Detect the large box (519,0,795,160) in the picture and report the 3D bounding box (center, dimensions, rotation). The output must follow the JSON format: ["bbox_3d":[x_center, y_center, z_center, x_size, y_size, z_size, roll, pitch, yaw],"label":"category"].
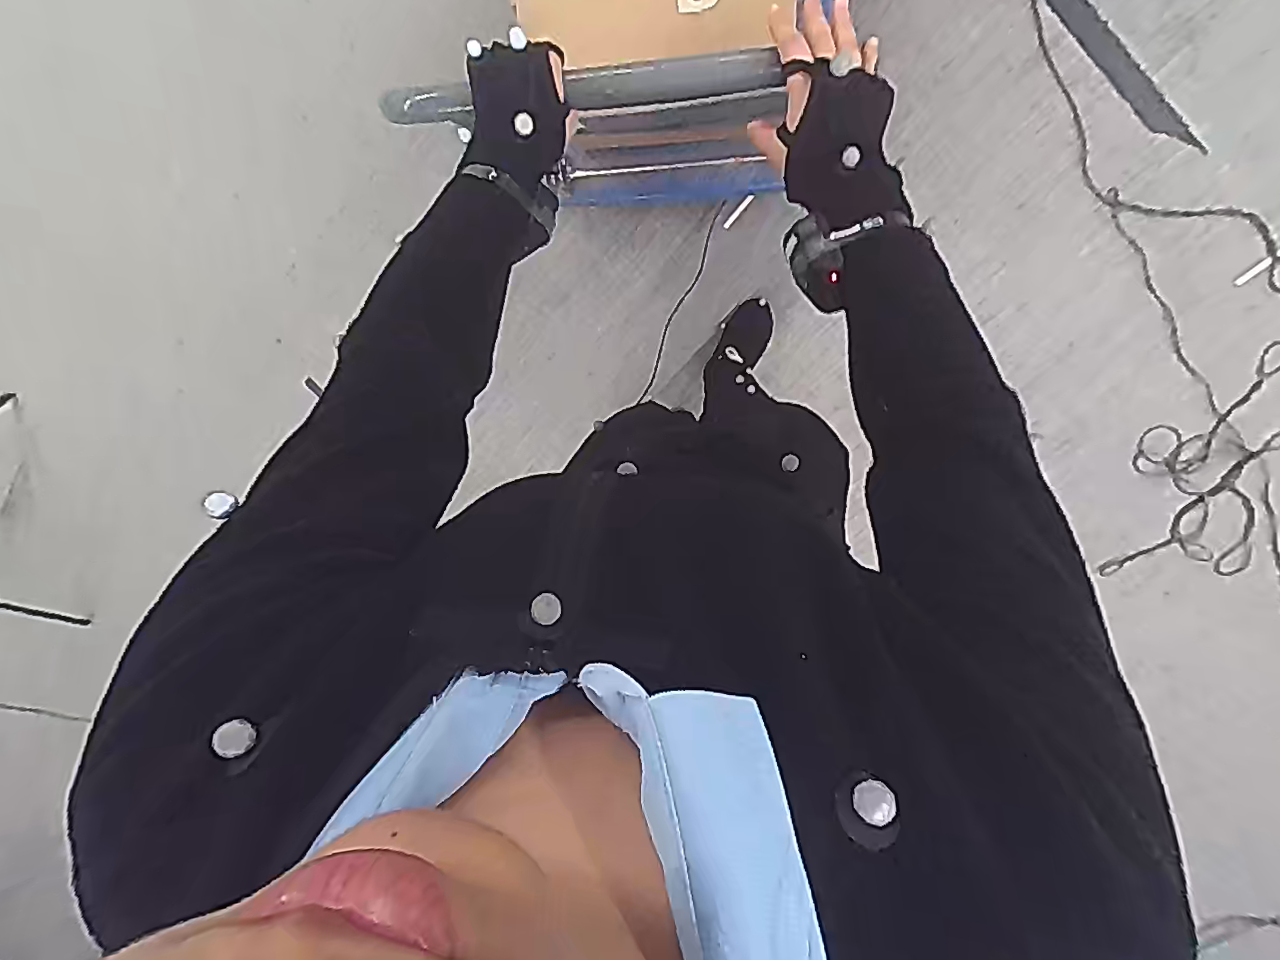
[{"bbox_3d":[0.037,-0.755,0.900,0.408,0.320,0.320,1,110,9],"label":"large box"}]
